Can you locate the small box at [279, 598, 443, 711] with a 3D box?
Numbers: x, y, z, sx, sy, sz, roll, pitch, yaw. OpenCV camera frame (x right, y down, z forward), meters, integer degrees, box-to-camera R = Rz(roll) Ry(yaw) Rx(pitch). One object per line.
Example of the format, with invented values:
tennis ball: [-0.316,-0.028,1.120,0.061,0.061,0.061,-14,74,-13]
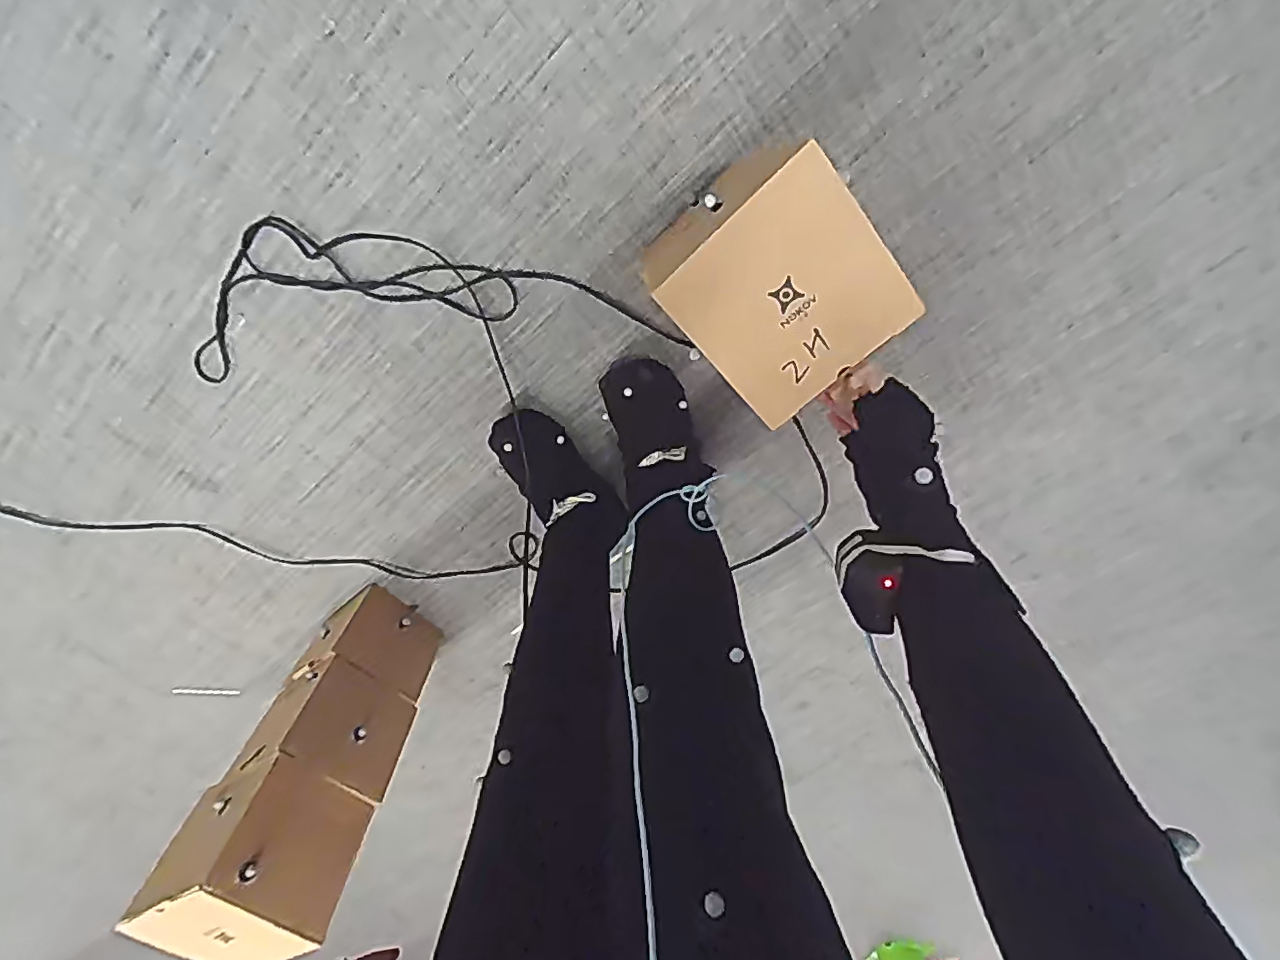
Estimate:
small box: [-0.503,0.344,1.000,0.168,0.176,0.179,-35,114,18]

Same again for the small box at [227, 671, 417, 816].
small box: [-0.497,0.433,0.862,0.168,0.176,0.179,-35,115,18]

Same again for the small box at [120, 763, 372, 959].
small box: [-0.503,0.517,0.723,0.168,0.176,0.179,-30,115,16]

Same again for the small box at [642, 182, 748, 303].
small box: [0.119,-0.246,0.675,0.168,0.176,0.179,-39,113,19]

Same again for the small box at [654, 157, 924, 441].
small box: [0.126,-0.175,0.526,0.168,0.176,0.179,-39,113,19]
